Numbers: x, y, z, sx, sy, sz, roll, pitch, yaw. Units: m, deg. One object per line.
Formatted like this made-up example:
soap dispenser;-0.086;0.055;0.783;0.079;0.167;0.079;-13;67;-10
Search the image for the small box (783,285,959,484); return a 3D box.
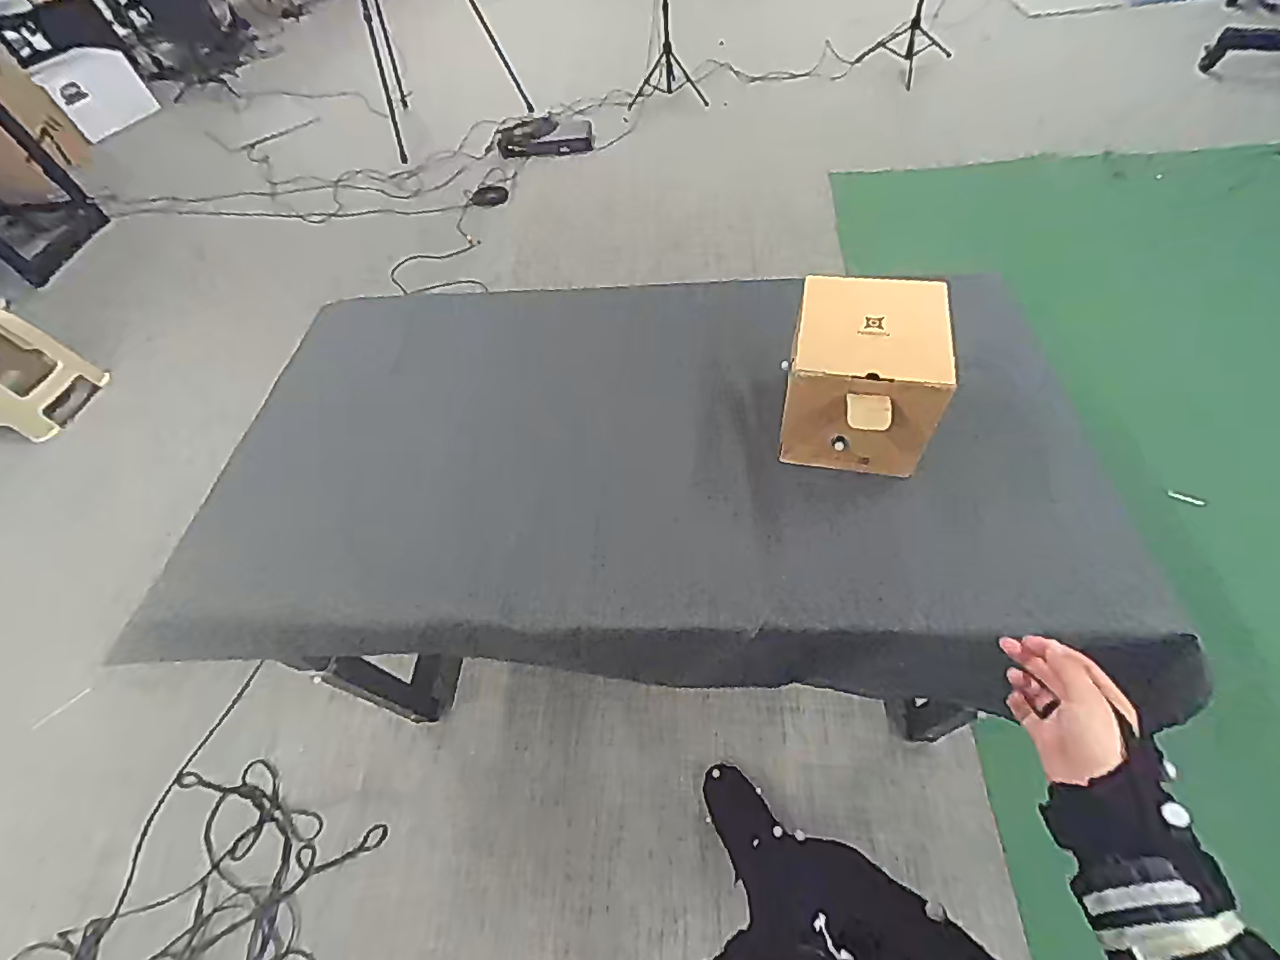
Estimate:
small box;0.280;-0.120;0.687;0.168;0.176;0.179;8;57;13
